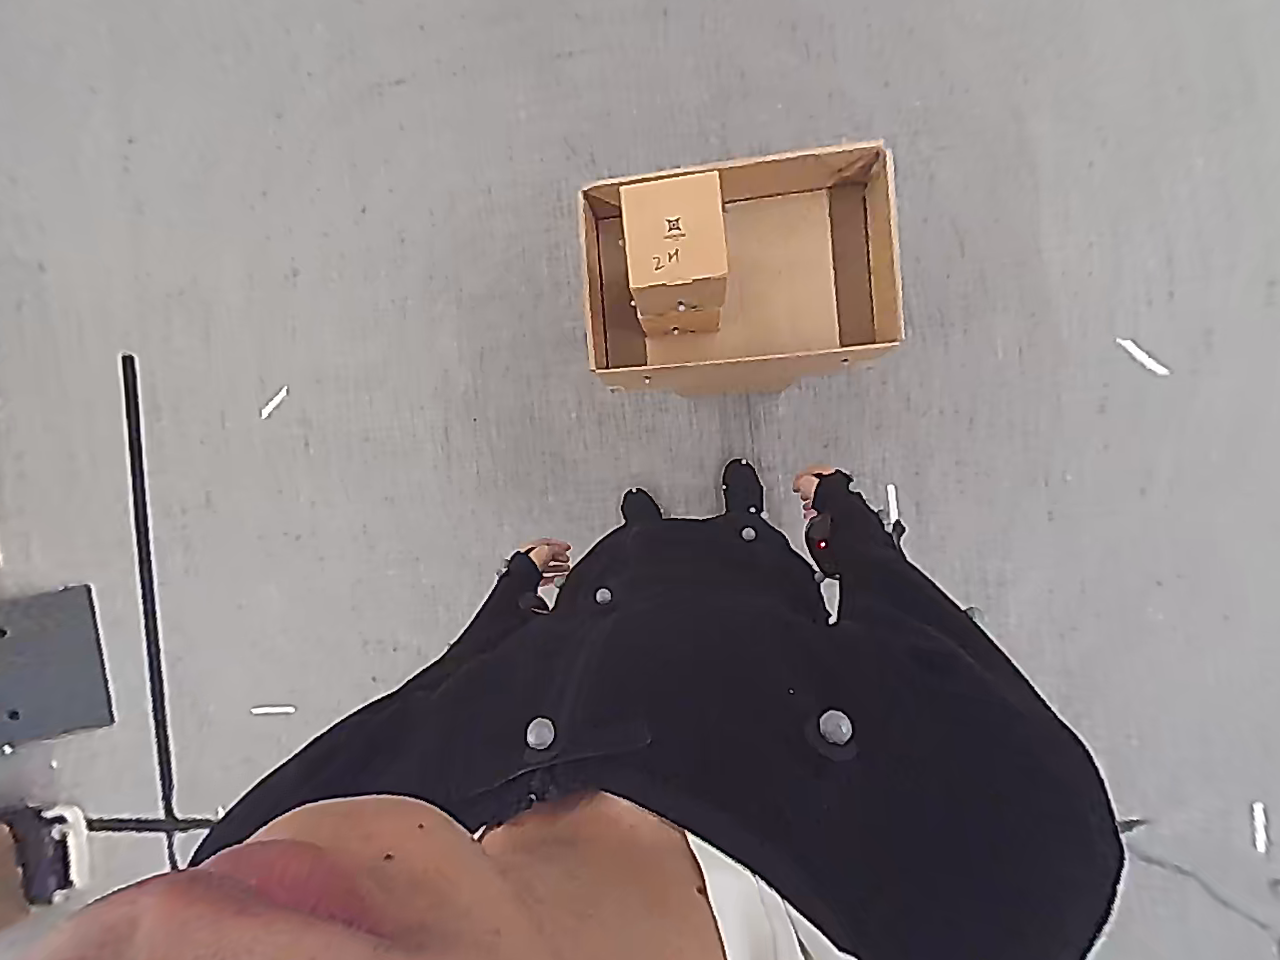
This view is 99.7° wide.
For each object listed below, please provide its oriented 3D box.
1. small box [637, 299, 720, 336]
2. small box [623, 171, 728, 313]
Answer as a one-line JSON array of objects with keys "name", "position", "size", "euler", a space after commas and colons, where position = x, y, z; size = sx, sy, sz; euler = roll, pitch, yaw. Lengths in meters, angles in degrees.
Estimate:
[{"name": "small box", "position": [0.078, -0.418, 1.140], "size": [0.168, 0.176, 0.179], "euler": [-5, 91, 6]}, {"name": "small box", "position": [0.065, -0.418, 0.976], "size": [0.168, 0.176, 0.179], "euler": [-5, 91, 7]}]
